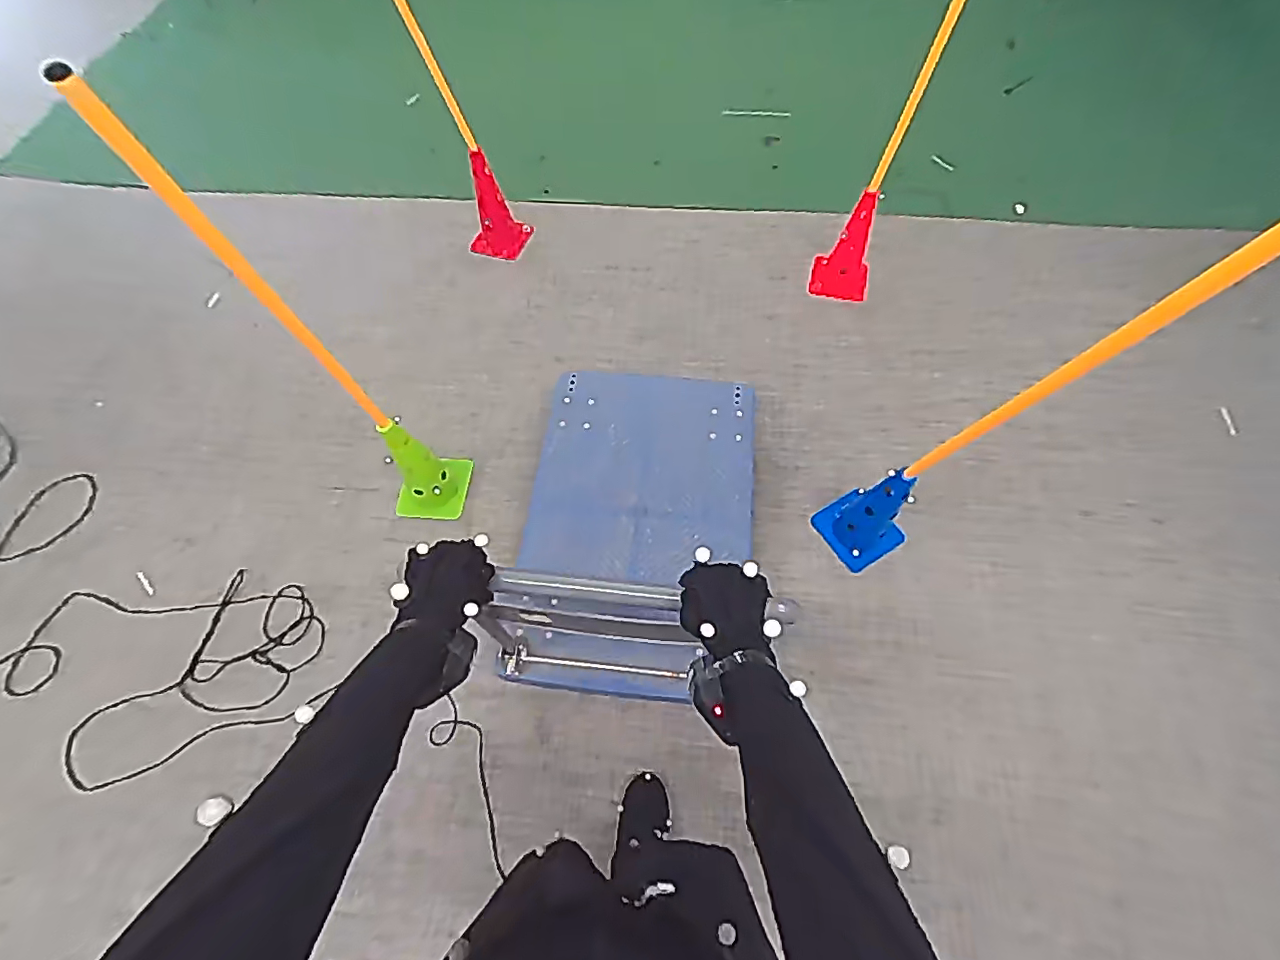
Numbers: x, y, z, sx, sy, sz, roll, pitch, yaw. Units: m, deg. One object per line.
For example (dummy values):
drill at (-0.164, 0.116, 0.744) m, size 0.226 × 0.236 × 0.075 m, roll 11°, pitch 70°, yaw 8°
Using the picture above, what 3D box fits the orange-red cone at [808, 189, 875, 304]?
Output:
orange-red cone at (0.713, -0.800, 1.813) m, size 0.198 × 0.360 × 0.199 m, roll 14°, pitch 65°, yaw 10°
